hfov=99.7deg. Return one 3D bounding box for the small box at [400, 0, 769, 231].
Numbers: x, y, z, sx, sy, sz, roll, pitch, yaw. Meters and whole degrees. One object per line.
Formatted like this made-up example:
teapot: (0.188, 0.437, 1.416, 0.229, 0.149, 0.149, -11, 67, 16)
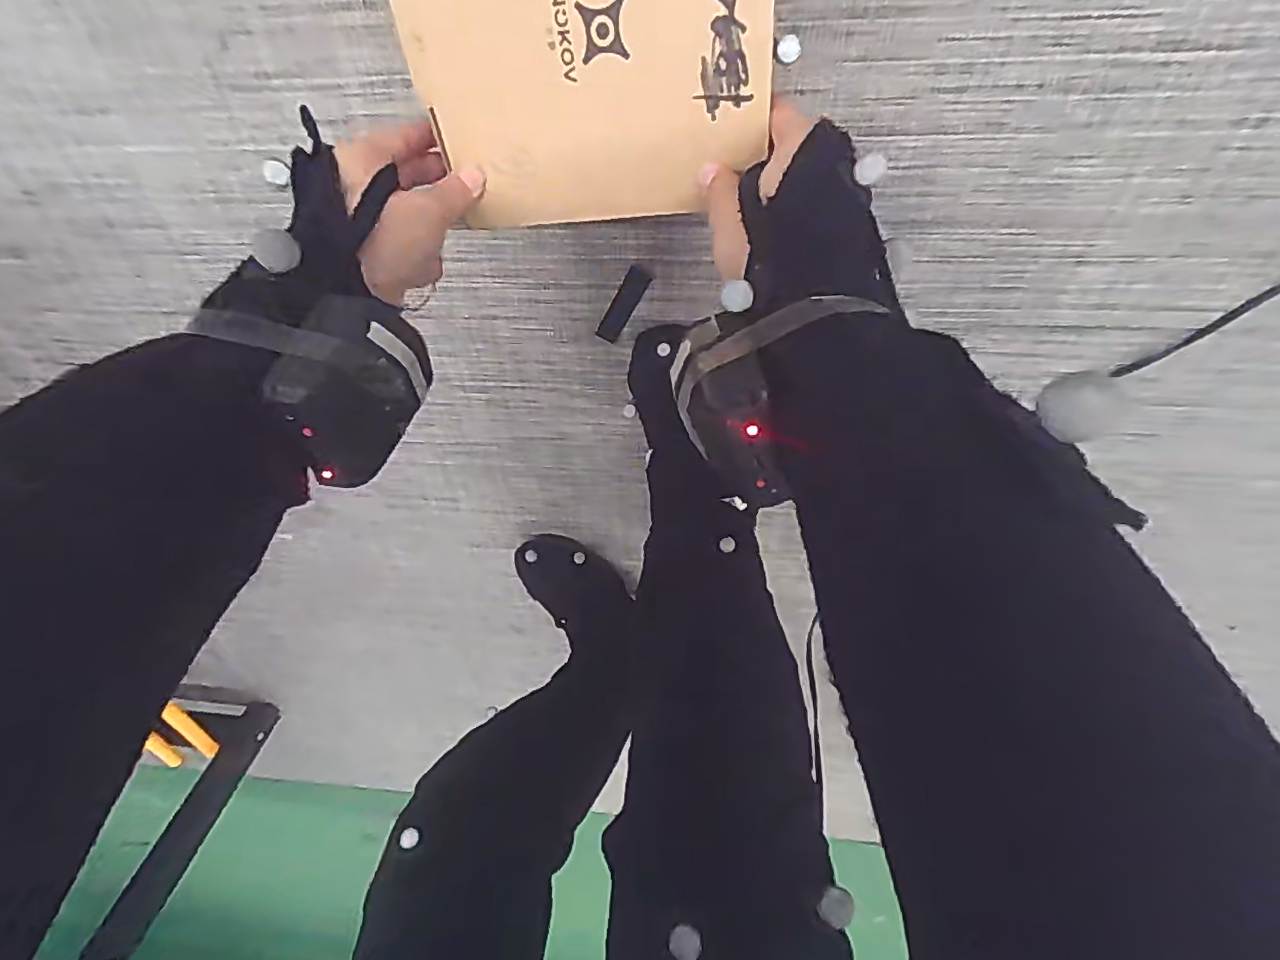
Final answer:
small box: (-0.016, -0.261, 0.321, 0.179, 0.176, 0.168, 0, 131, 9)
